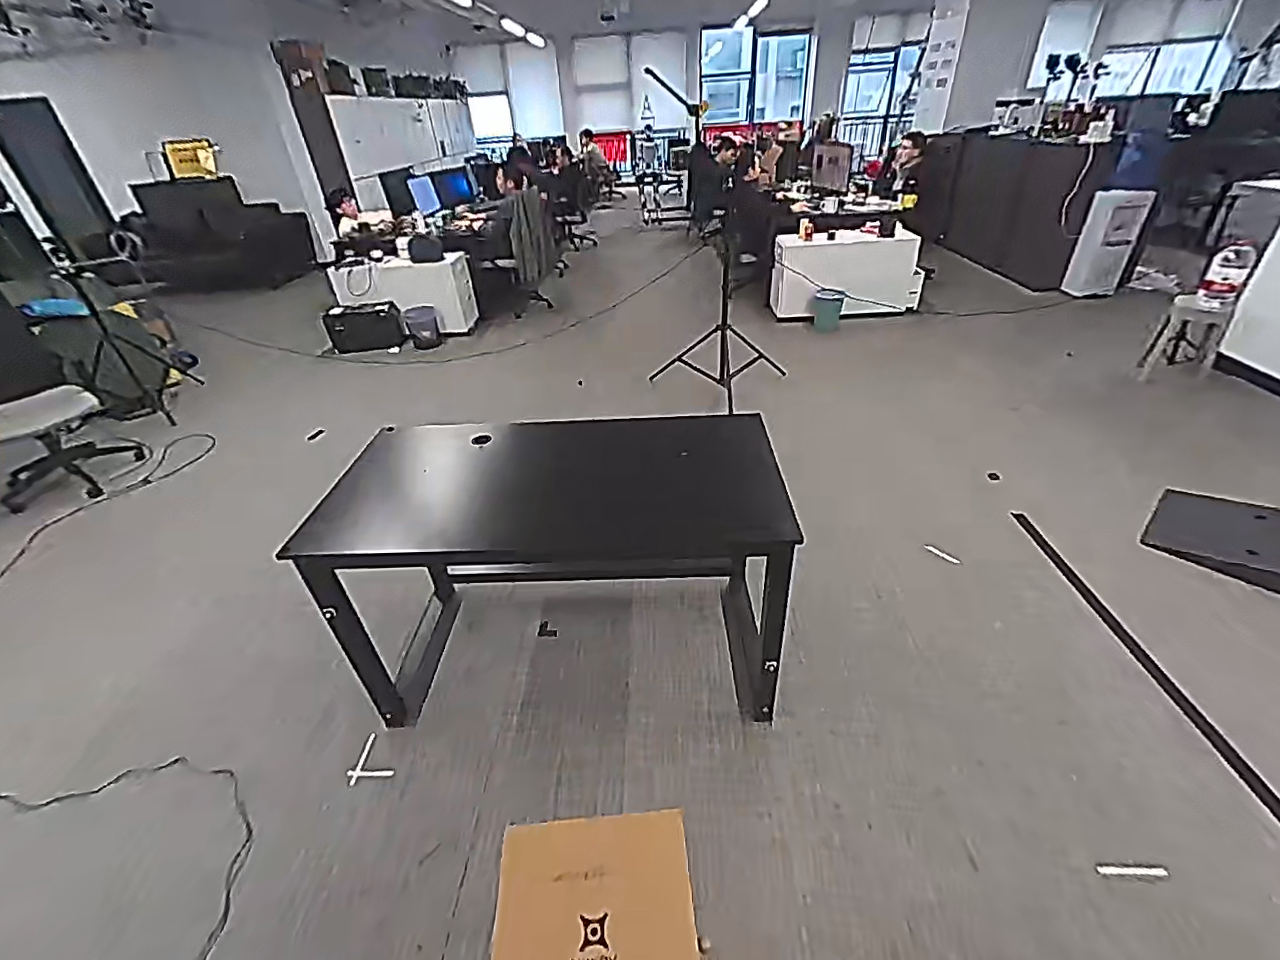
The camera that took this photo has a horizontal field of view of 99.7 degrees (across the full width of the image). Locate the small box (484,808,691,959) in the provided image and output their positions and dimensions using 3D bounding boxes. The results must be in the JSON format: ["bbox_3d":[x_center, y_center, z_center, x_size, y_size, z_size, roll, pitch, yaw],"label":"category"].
[{"bbox_3d":[-0.039,0.427,0.483,0.168,0.176,0.179,-4,38,-3],"label":"small box"}]
